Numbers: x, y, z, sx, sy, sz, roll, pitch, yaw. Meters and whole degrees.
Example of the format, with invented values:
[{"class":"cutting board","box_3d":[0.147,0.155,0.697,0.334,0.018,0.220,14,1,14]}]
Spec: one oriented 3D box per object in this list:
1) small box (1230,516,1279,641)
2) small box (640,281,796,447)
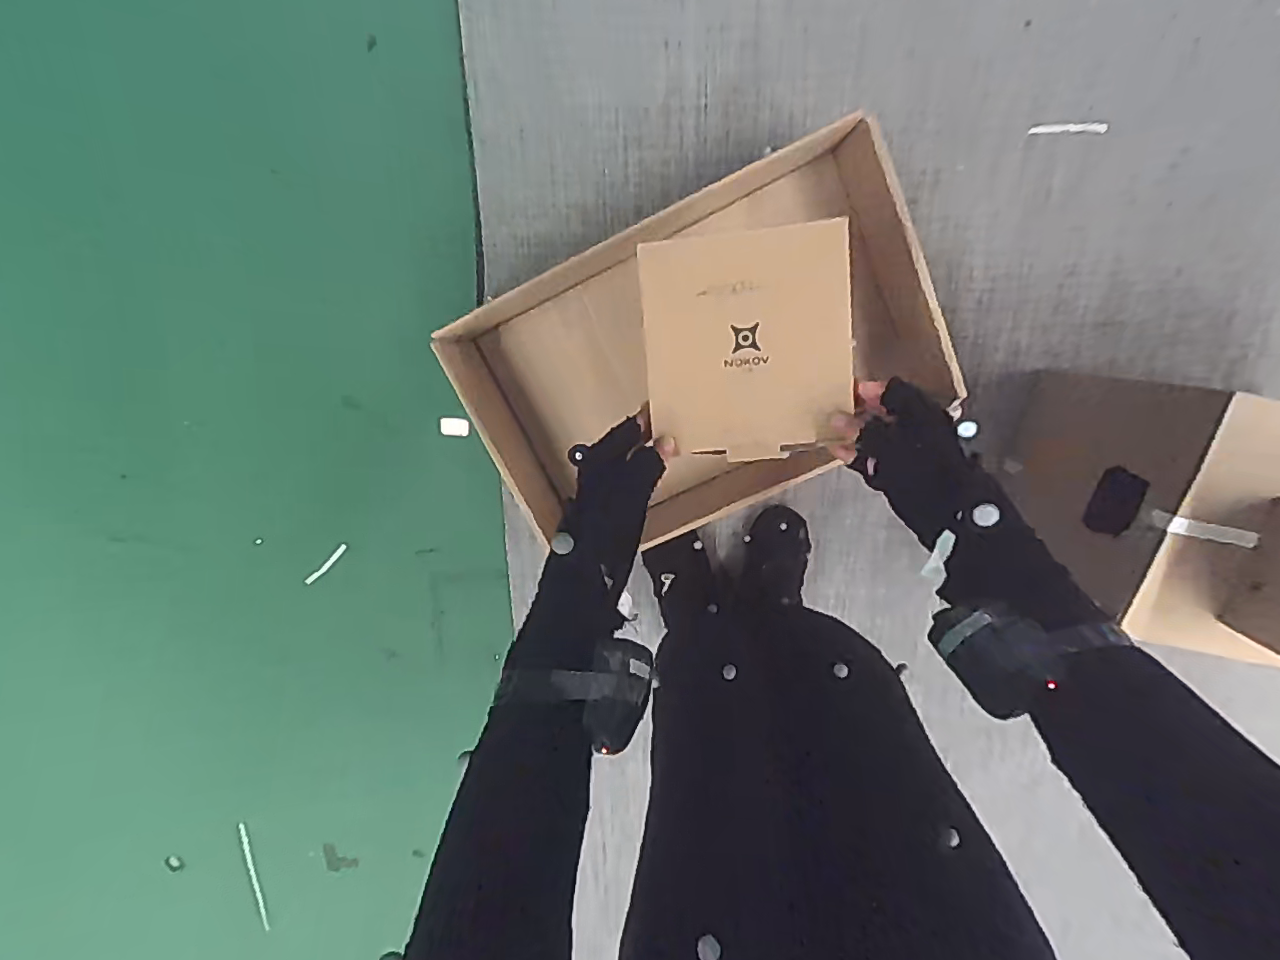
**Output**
[{"class":"small box","box_3d":[0.794,0.118,0.555,0.179,0.176,0.168,6,108,1]},{"class":"small box","box_3d":[0.106,-0.166,0.765,0.168,0.176,0.179,-17,104,7]}]
